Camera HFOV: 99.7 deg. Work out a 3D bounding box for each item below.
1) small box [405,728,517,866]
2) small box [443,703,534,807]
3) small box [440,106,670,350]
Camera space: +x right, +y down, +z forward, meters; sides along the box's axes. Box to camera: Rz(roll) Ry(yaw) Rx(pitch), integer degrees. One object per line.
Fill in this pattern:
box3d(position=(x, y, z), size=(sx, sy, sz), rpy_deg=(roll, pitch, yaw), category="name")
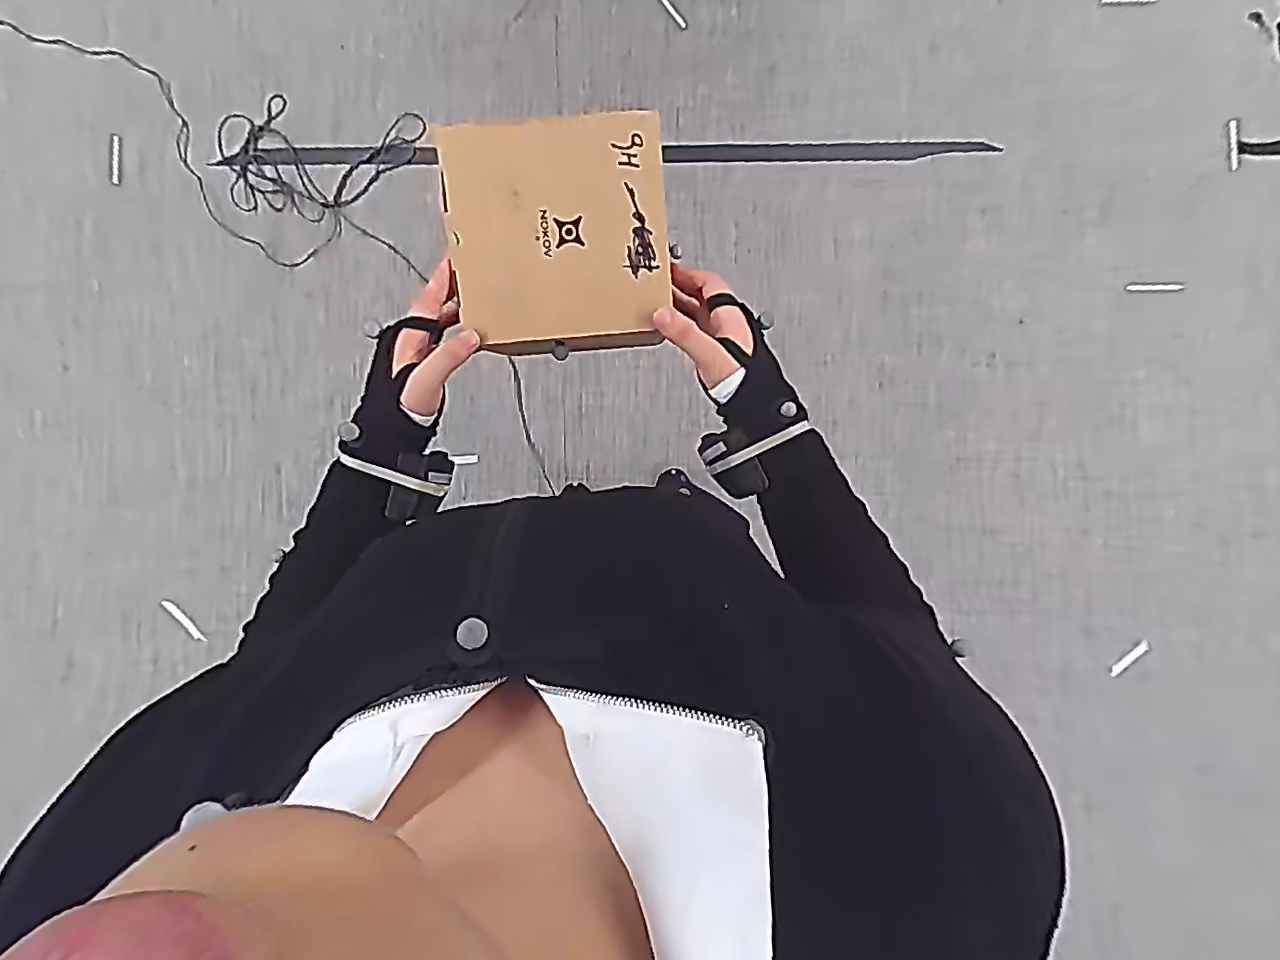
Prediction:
box3d(position=(-0.343, 0.614, 1.064), size=(0.168, 0.176, 0.179), rpy_deg=(-4, 88, 0), category="small box")
box3d(position=(-0.333, 0.612, 1.228), size=(0.168, 0.176, 0.179), rpy_deg=(-3, 89, 0), category="small box")
box3d(position=(-0.065, -0.217, 0.512), size=(0.179, 0.176, 0.168), rpy_deg=(-4, 99, 0), category="small box")
